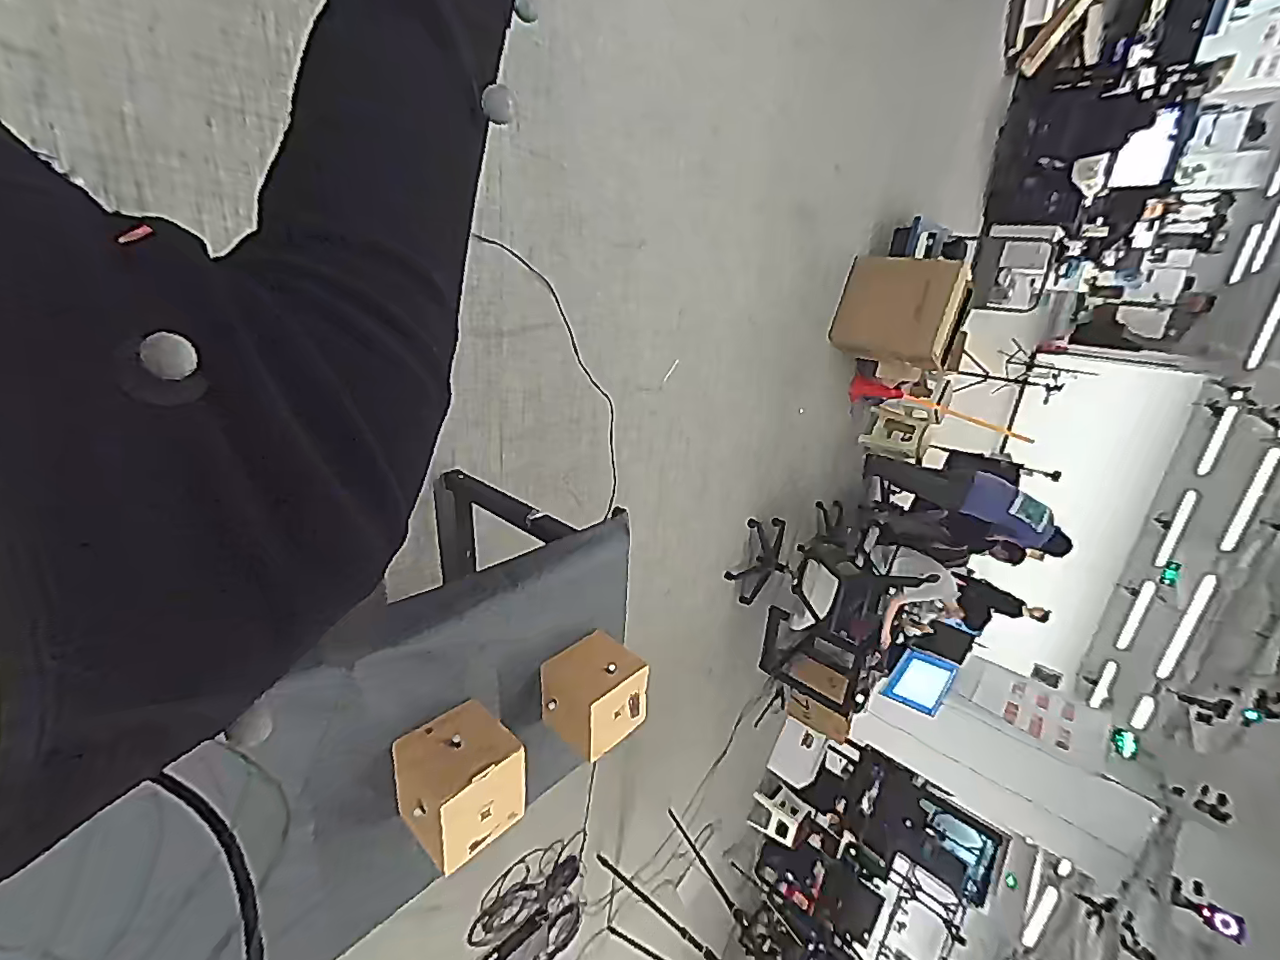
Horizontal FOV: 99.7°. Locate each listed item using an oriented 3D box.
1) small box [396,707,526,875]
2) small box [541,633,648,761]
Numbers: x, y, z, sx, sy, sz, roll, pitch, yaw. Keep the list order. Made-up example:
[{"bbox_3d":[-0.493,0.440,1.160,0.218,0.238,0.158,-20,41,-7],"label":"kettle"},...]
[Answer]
[{"bbox_3d":[-0.326,0.547,0.985,0.168,0.176,0.179,-18,120,-45],"label":"small box"},{"bbox_3d":[-0.104,0.478,1.222,0.179,0.176,0.168,-21,122,-43],"label":"small box"}]
